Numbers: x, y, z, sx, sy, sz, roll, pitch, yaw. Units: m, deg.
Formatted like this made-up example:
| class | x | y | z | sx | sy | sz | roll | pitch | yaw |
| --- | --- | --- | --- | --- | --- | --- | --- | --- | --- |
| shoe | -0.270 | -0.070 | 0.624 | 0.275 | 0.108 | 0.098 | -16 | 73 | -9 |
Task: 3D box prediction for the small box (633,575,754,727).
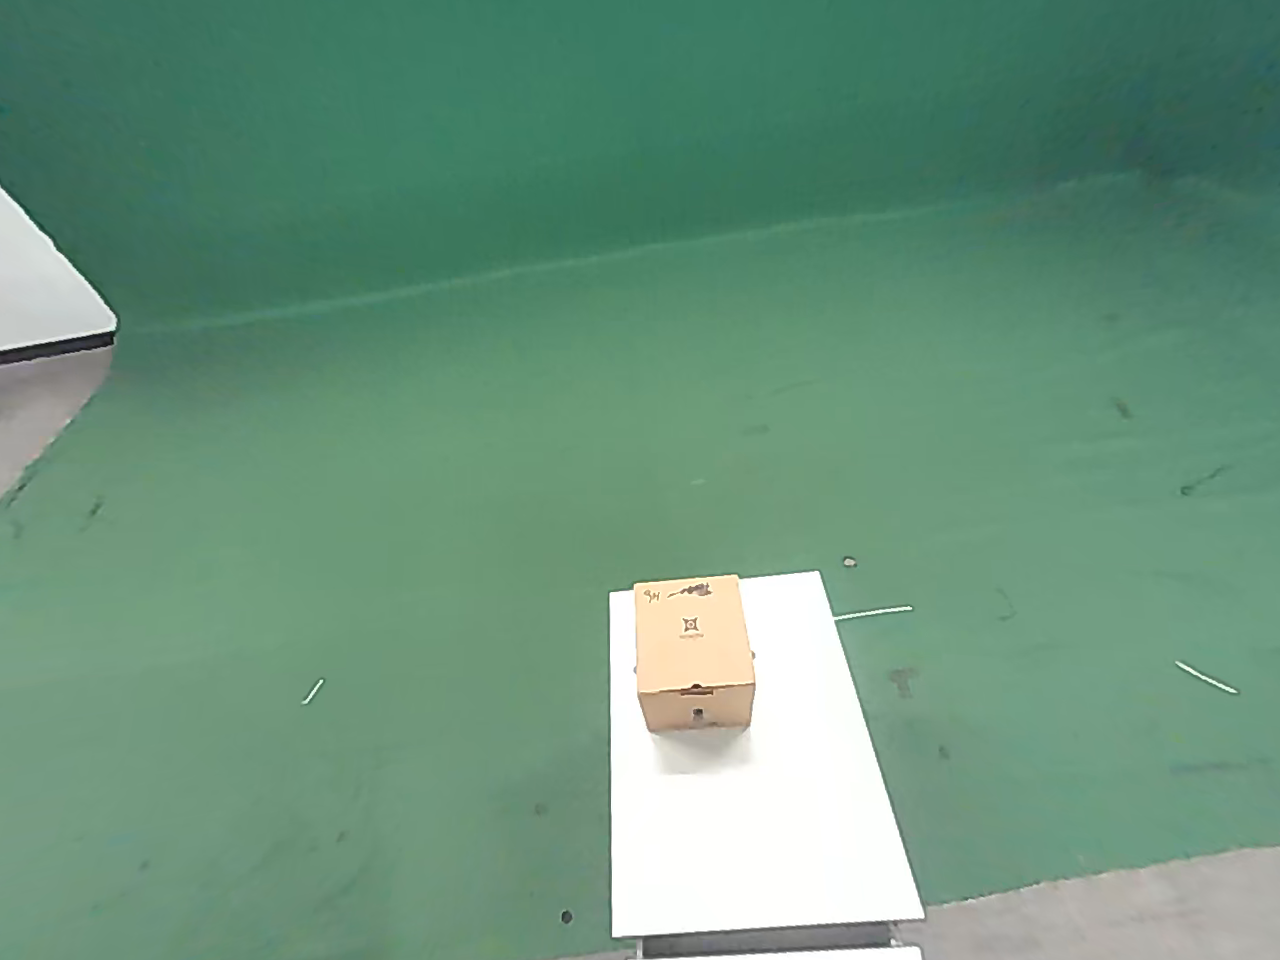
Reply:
| class | x | y | z | sx | sy | sz | roll | pitch | yaw |
| --- | --- | --- | --- | --- | --- | --- | --- | --- | --- |
| small box | 0.081 | 0.270 | 0.837 | 0.168 | 0.176 | 0.179 | -5 | 49 | 3 |
